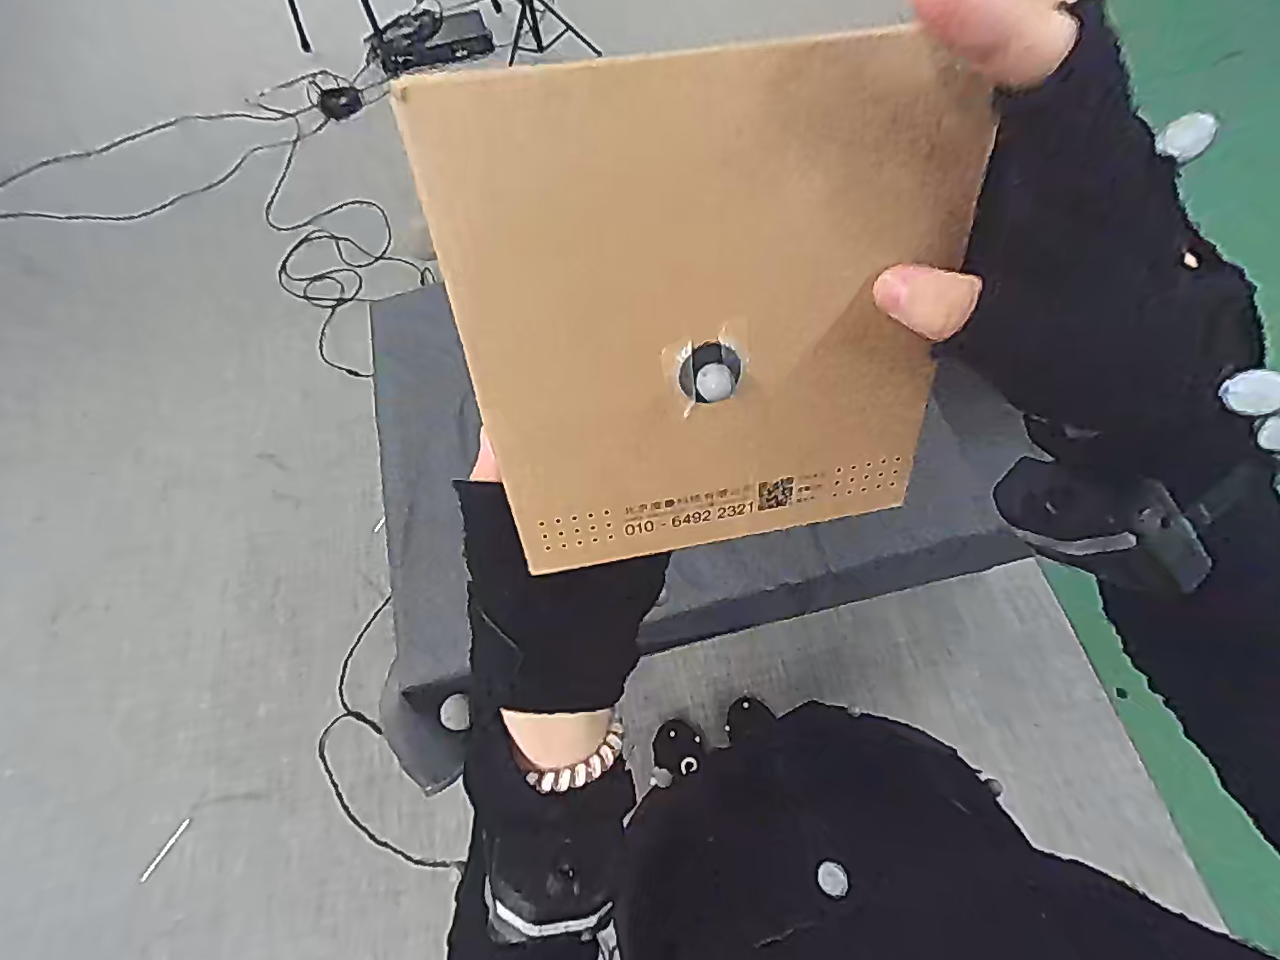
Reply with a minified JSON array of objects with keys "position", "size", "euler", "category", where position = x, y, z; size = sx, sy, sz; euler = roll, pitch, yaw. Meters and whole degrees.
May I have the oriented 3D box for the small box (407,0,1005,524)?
[{"position":[0.015,-0.094,0.253],"size":[0.168,0.176,0.179],"euler":[-9,36,-5],"category":"small box"}]
